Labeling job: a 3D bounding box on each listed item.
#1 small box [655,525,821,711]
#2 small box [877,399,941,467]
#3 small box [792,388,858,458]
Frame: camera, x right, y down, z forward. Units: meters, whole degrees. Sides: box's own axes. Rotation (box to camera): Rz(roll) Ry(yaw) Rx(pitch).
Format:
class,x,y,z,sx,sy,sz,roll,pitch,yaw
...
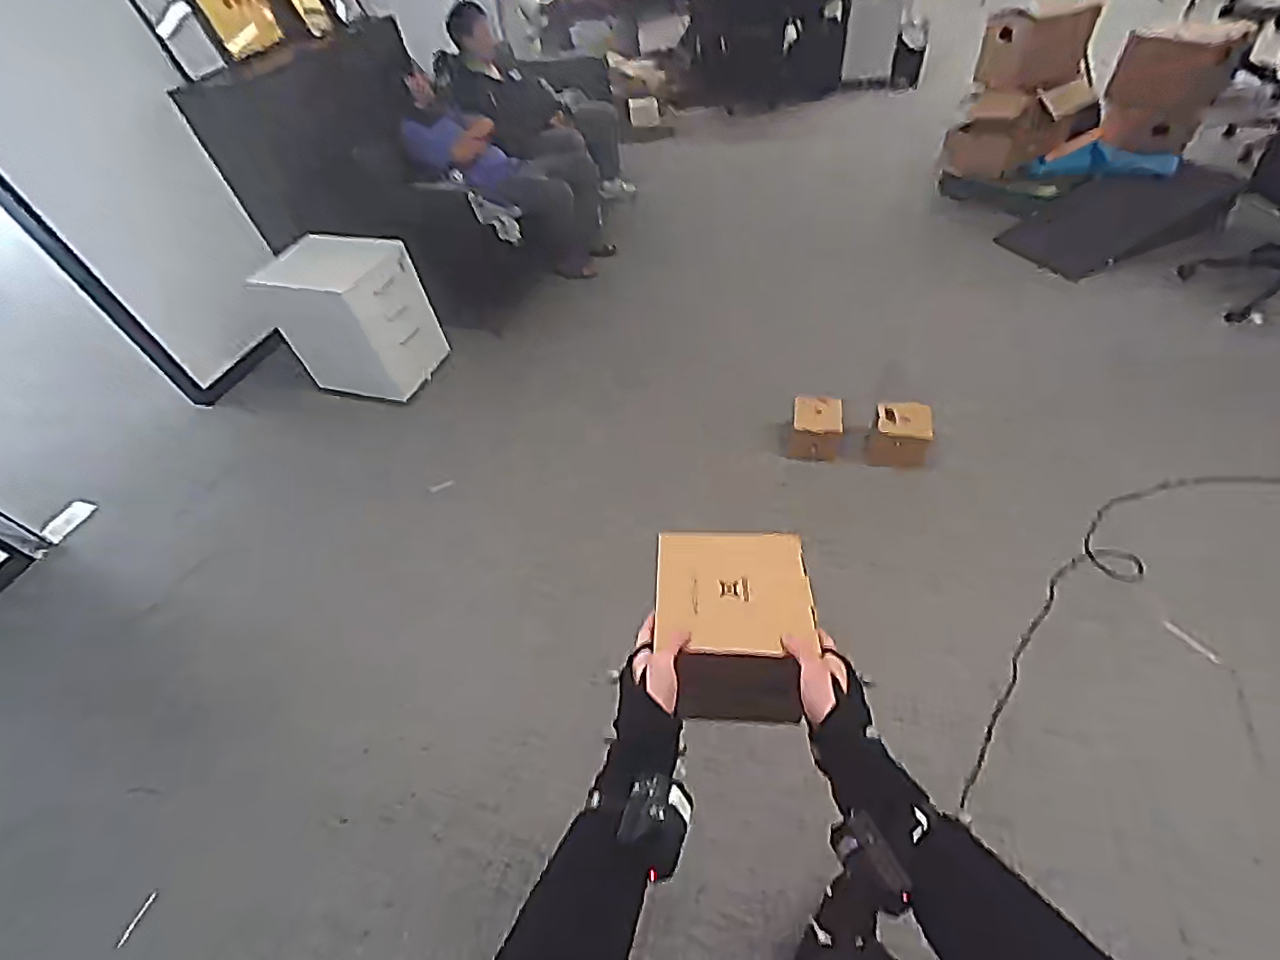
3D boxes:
class,x,y,z,sx,sy,sz,roll,pitch,yaw
small box,0.115,0.174,0.681,0.179,0.176,0.168,0,42,7
small box,0.956,-0.165,1.930,0.179,0.176,0.168,11,55,19
small box,0.683,-0.208,2.010,0.179,0.176,0.168,-19,47,-5
